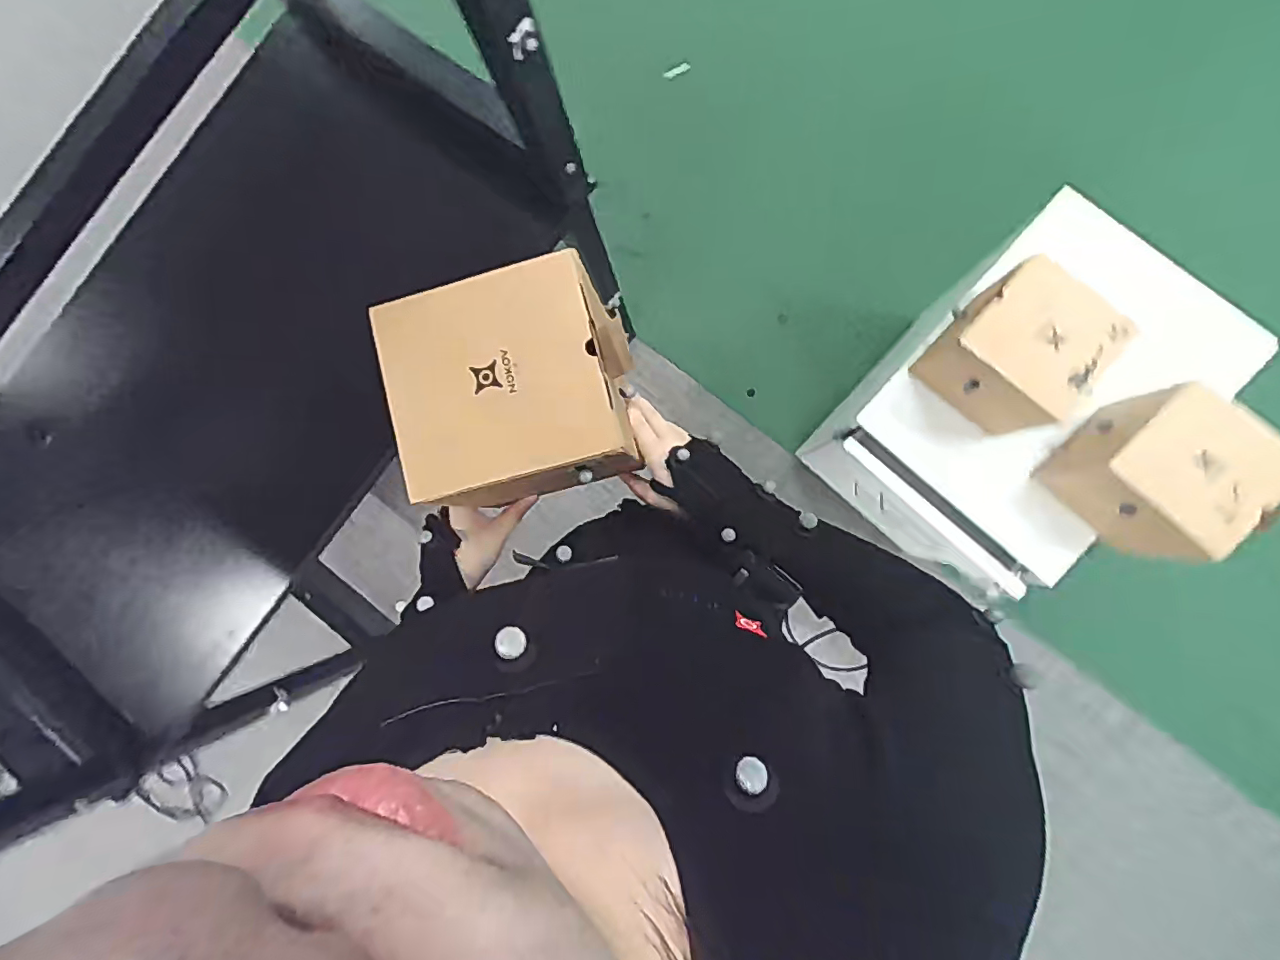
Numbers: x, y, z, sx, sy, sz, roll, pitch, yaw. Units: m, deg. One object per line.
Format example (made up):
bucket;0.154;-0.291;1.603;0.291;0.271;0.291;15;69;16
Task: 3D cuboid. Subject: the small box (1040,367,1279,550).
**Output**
small box;0.719;-0.022;0.750;0.179;0.176;0.168;44;92;6

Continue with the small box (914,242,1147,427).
small box;0.539;-0.194;0.779;0.179;0.176;0.168;41;92;6

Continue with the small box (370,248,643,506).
small box;-0.105;-0.073;0.490;0.179;0.176;0.168;-14;85;5
